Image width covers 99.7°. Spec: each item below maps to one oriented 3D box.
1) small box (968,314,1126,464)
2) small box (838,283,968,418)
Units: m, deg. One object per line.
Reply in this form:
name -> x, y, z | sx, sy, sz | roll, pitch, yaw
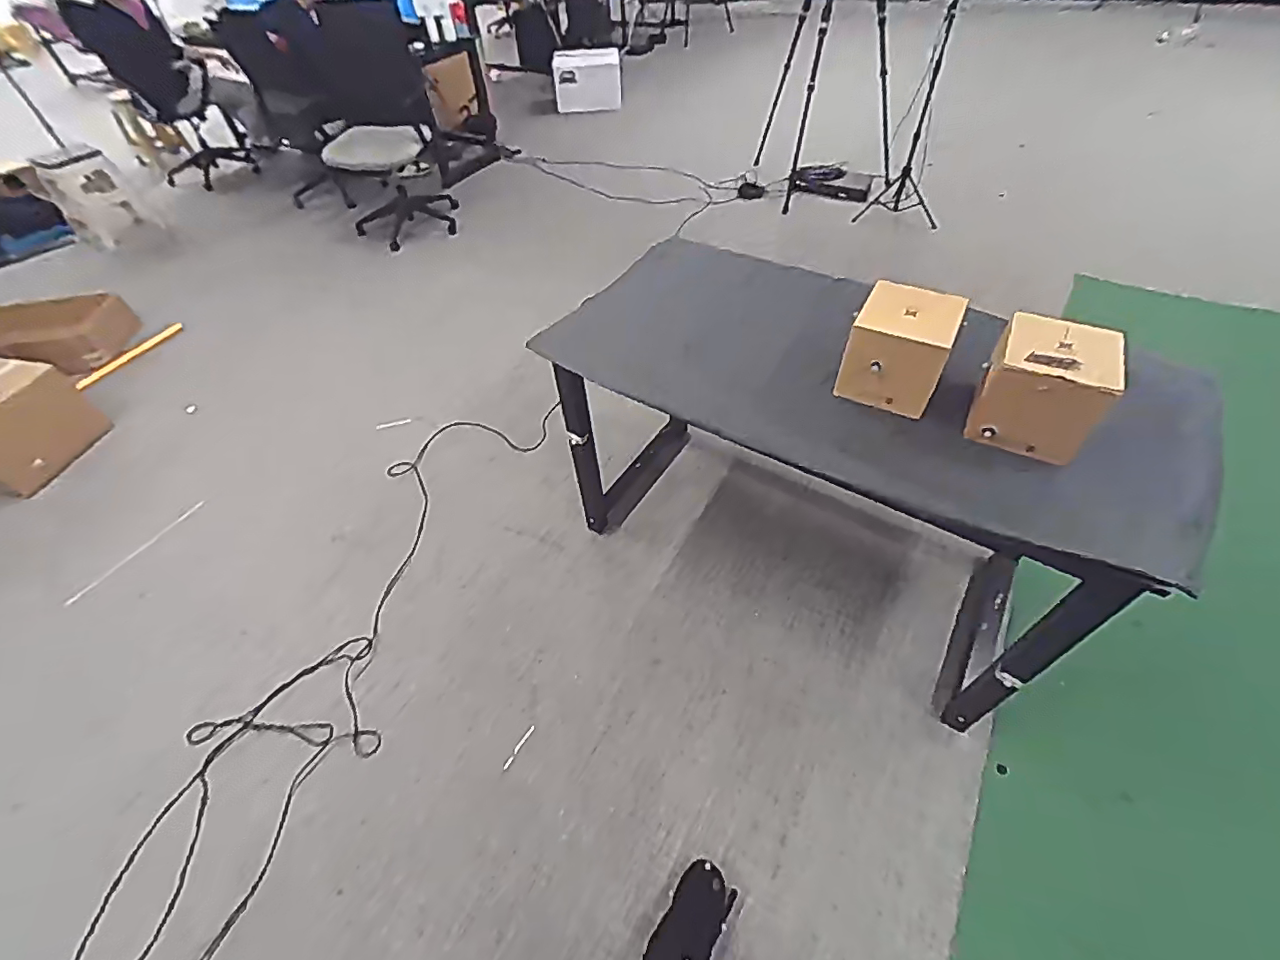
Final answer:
small box -> 0.696, -0.156, 0.938 | 0.168, 0.176, 0.179 | 22, 53, 21
small box -> 0.494, -0.246, 1.032 | 0.168, 0.176, 0.179 | 22, 53, 21
